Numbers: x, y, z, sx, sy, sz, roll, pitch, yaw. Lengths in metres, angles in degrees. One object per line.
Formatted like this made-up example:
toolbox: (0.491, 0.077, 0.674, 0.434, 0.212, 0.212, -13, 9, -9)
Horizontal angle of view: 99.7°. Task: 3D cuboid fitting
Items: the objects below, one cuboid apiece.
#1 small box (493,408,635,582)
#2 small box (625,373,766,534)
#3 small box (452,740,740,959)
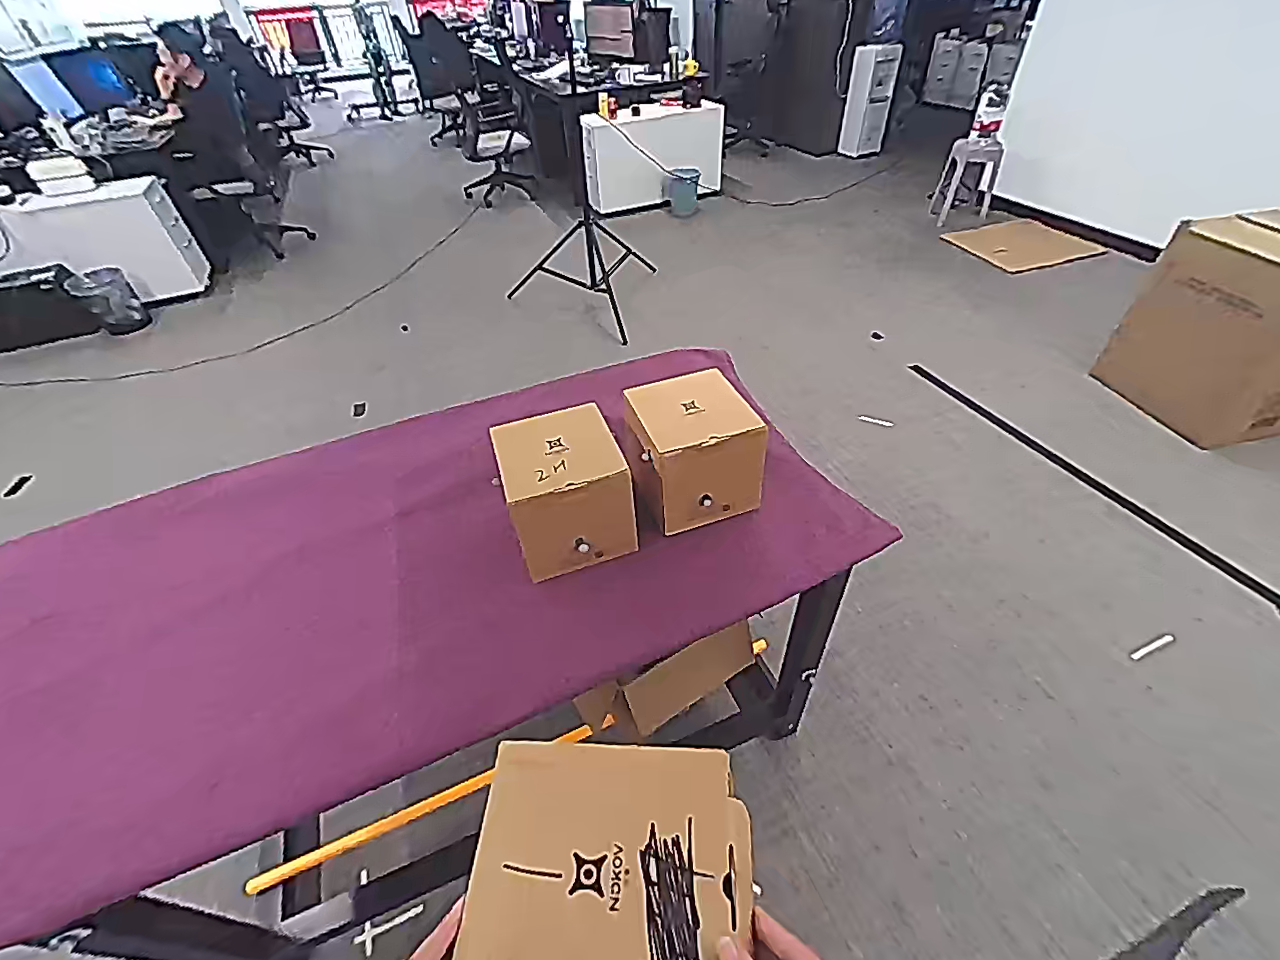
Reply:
small box: (-0.112, 0.021, 0.814, 0.168, 0.176, 0.179, -16, 44, -12)
small box: (0.082, -0.044, 0.866, 0.168, 0.176, 0.179, -16, 43, -11)
small box: (-0.021, 0.315, 0.410, 0.179, 0.176, 0.168, 0, 46, 5)
